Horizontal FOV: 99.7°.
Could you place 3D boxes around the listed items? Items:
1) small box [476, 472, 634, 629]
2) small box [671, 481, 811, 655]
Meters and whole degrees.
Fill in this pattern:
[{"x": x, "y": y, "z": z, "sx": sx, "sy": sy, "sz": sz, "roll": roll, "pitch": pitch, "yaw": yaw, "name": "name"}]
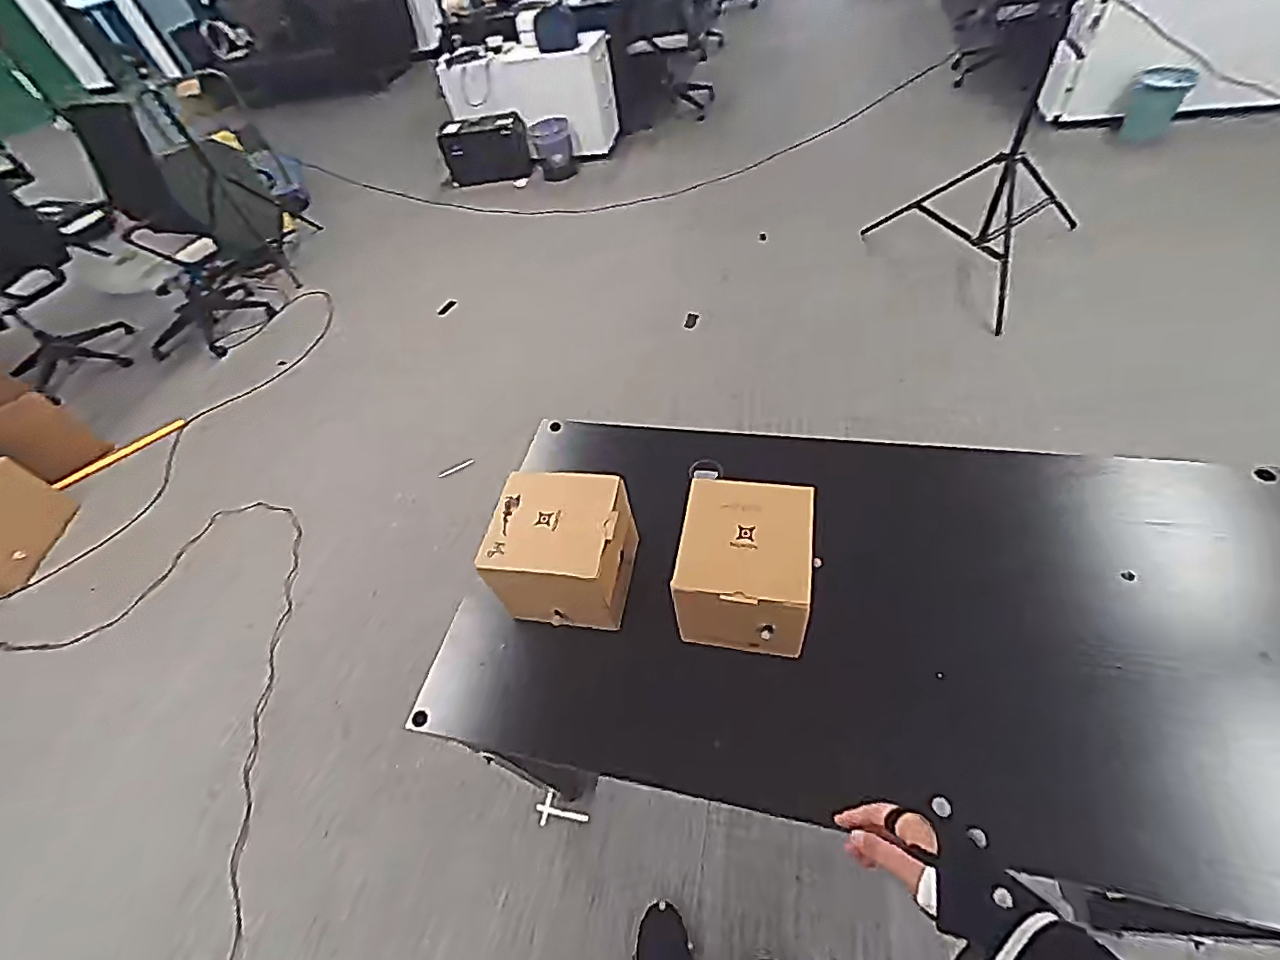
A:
[{"x": -0.112, "y": 0.109, "z": 0.810, "sx": 0.179, "sy": 0.176, "sz": 0.168, "roll": 4, "pitch": 52, "yaw": 11, "name": "small box"}, {"x": 0.144, "y": 0.125, "z": 0.755, "sx": 0.168, "sy": 0.176, "sz": 0.179, "roll": 5, "pitch": 52, "yaw": 12, "name": "small box"}]
